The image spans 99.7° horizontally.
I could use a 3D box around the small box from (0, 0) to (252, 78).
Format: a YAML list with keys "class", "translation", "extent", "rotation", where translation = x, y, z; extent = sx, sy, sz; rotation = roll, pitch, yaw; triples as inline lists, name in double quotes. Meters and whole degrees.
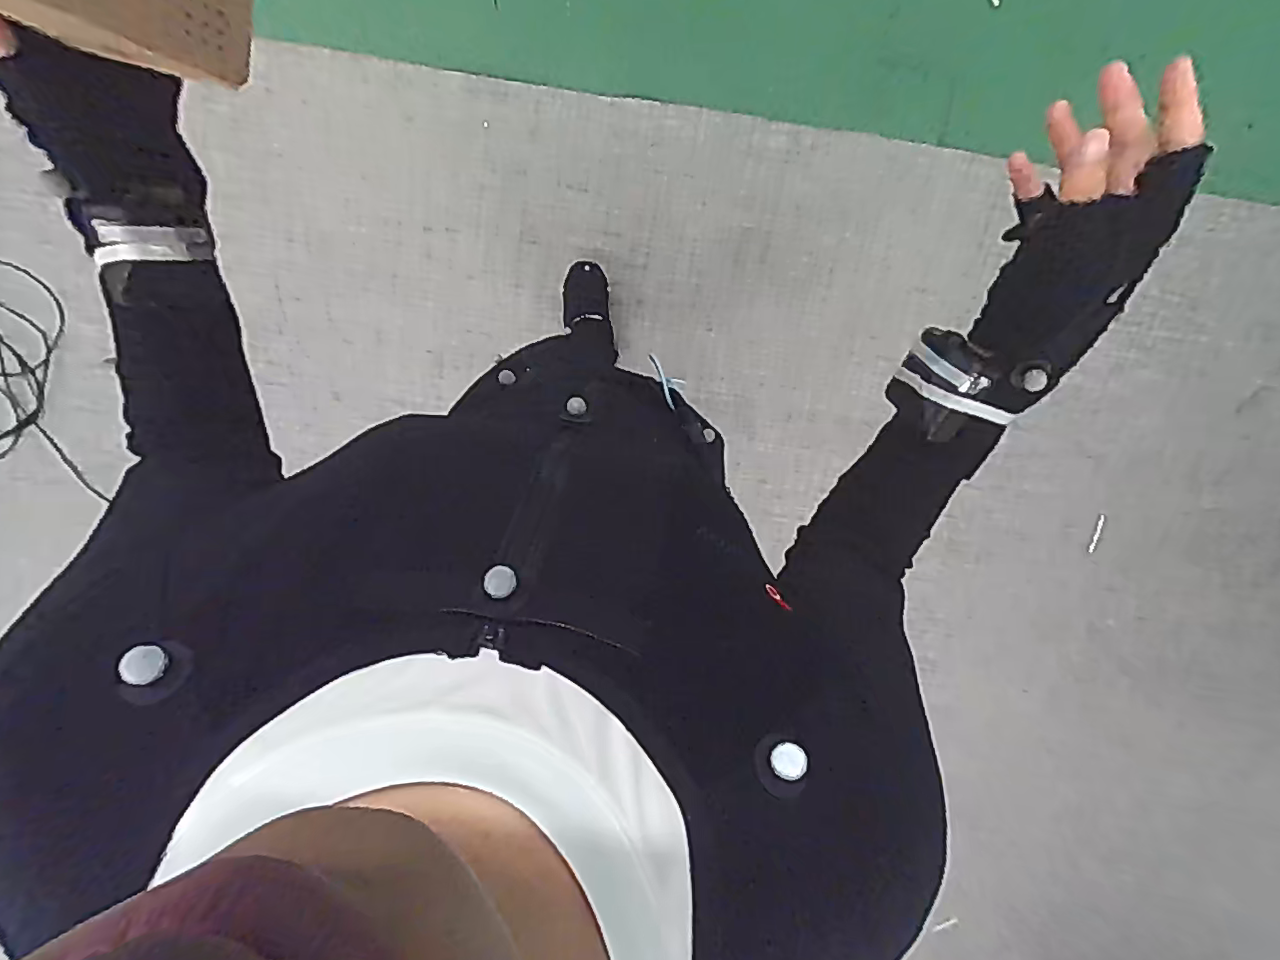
- class: "small box"
  translation: [-0.252, -0.275, 0.168]
  extent: [0.168, 0.176, 0.179]
  rotation: [24, 110, 14]
